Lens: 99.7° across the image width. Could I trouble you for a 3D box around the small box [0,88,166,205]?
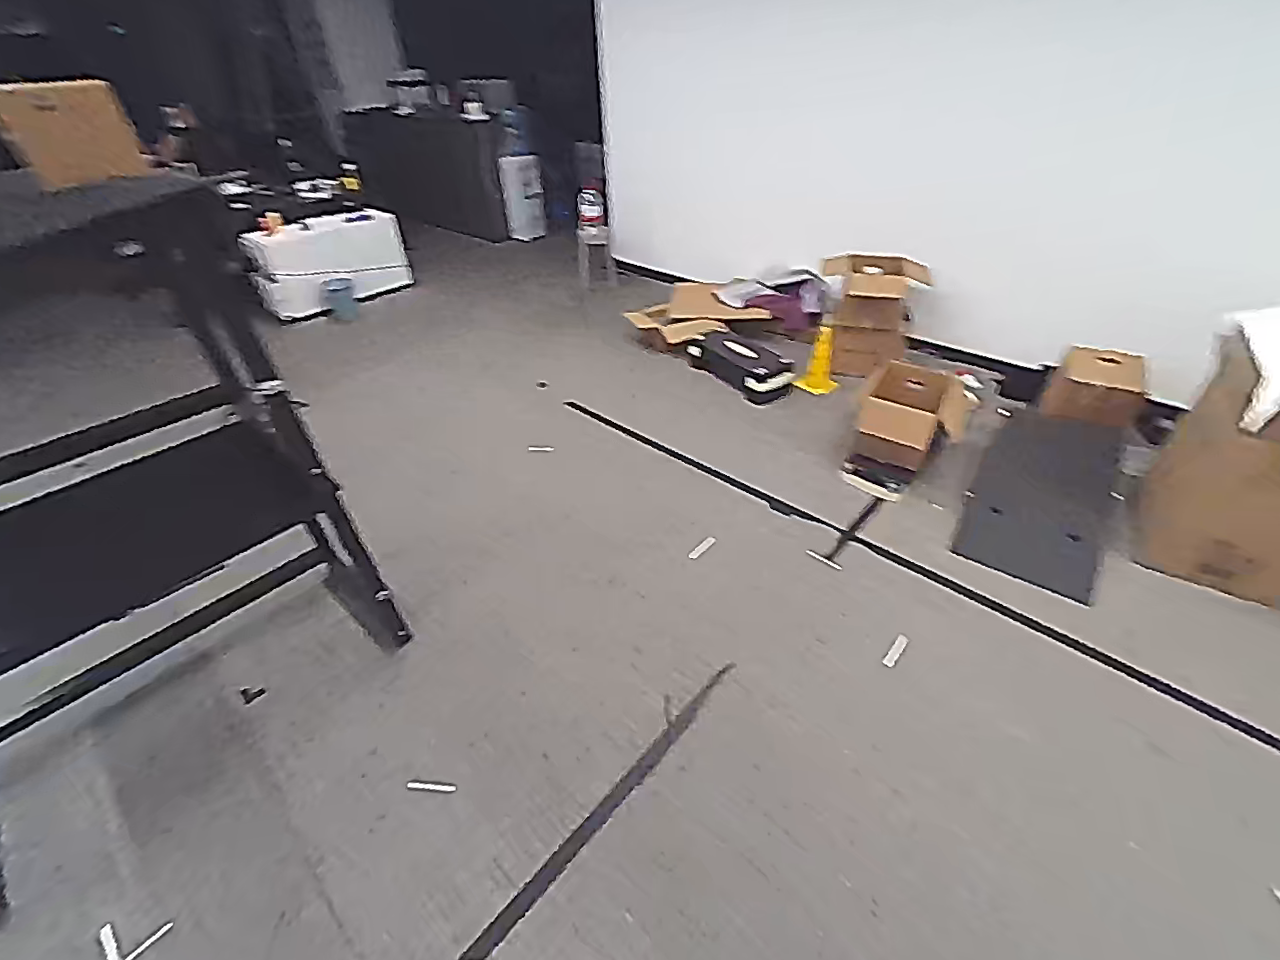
[{"bbox_3d":[-1.049,-0.630,1.022,0.168,0.176,0.179,-32,47,-31],"label":"small box"}]
